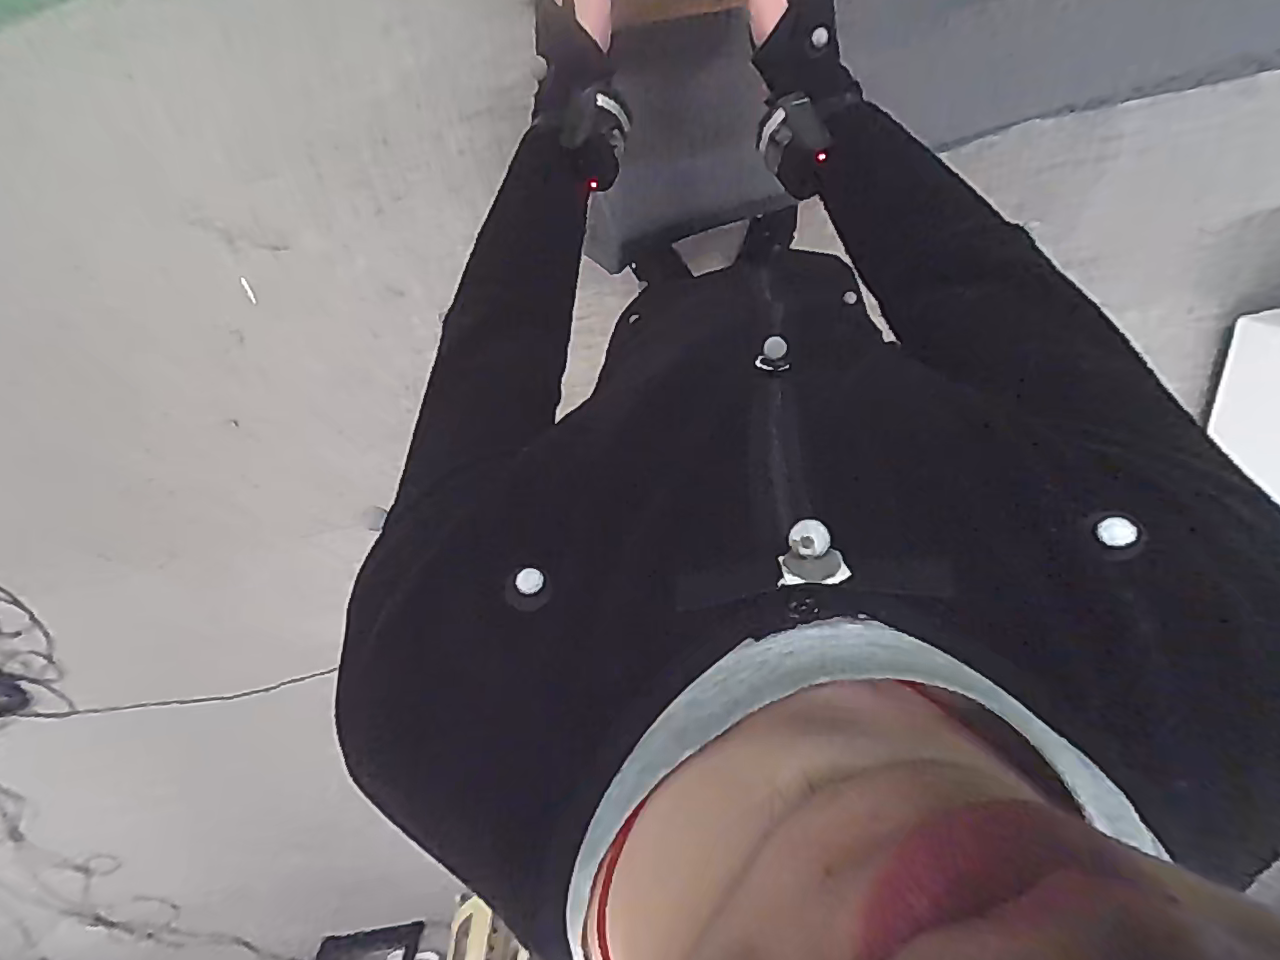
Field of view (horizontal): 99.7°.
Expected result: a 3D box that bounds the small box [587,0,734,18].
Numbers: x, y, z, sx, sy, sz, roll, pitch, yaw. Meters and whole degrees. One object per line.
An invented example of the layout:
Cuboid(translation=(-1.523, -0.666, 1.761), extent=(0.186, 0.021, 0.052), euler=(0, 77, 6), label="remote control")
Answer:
Cuboid(translation=(0.029, -0.529, 0.458), extent=(0.179, 0.176, 0.168), euler=(-6, 114, 1), label="small box")
